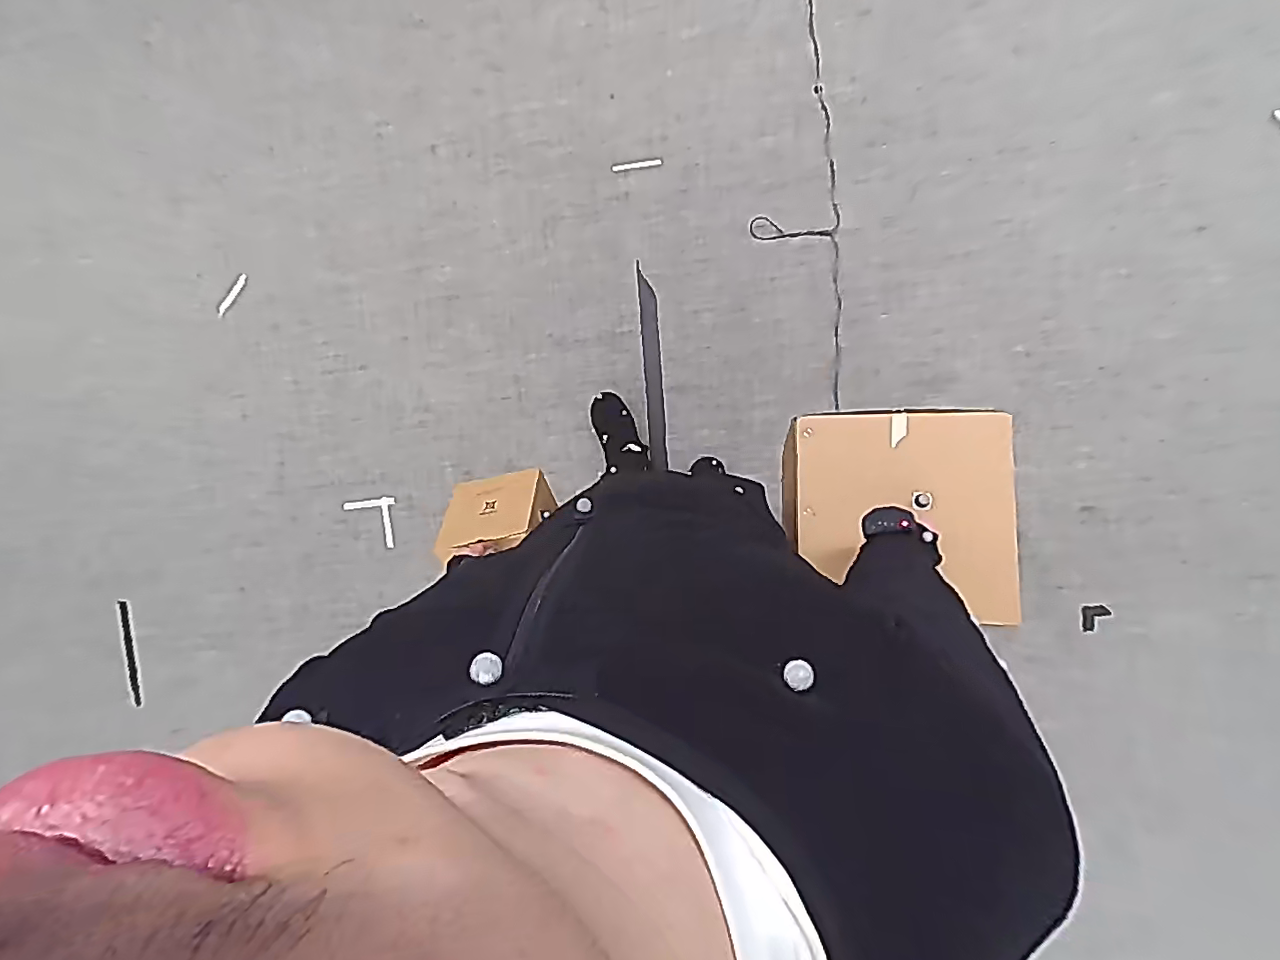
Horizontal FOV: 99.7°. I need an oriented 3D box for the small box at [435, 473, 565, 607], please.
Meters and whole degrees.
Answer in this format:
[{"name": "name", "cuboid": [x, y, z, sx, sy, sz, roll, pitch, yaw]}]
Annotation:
[{"name": "small box", "cuboid": [-0.245, 0.116, 0.996, 0.168, 0.179, 0.176, -11, 126, 7]}]
